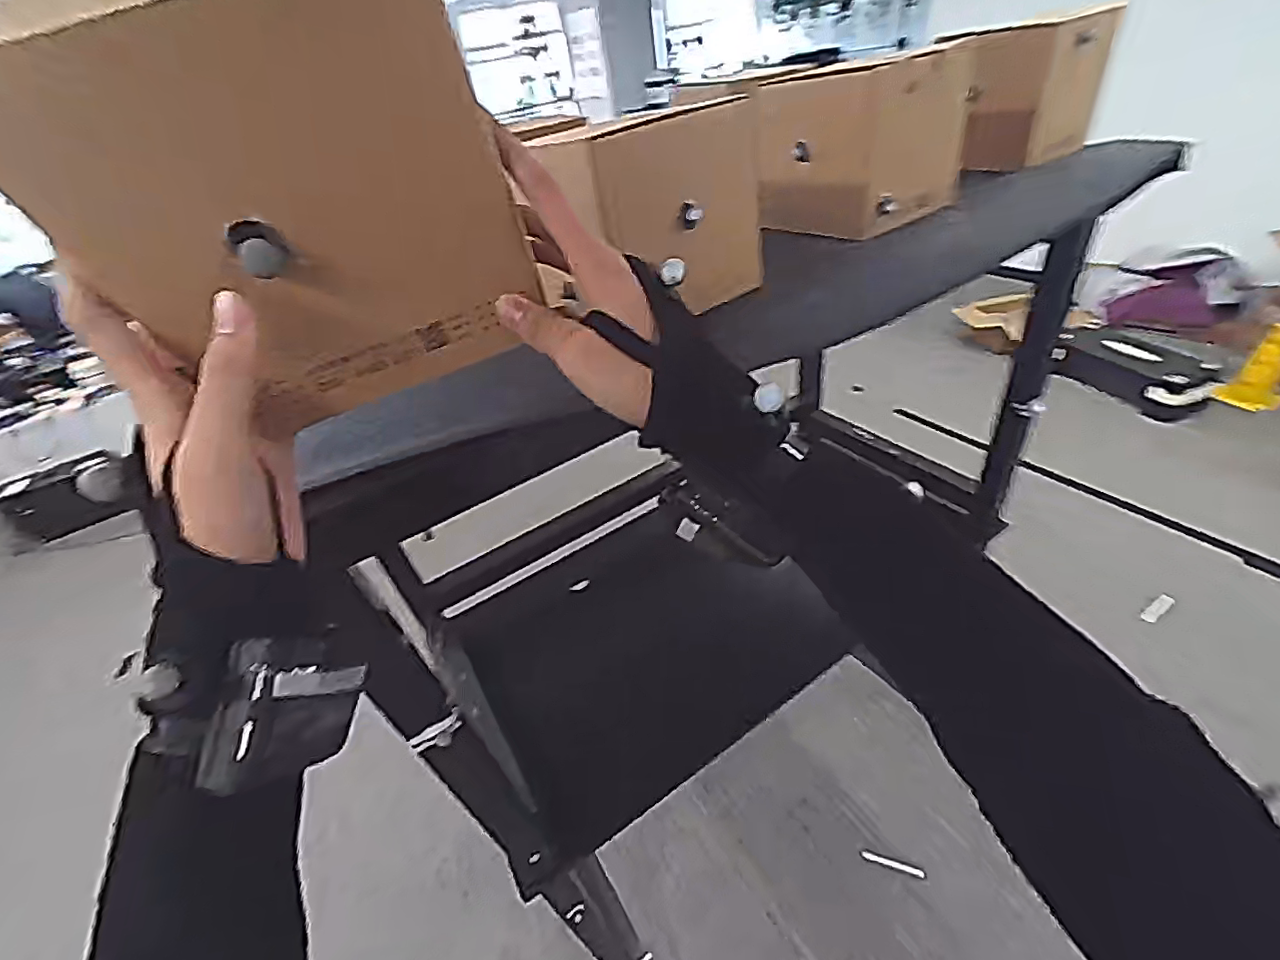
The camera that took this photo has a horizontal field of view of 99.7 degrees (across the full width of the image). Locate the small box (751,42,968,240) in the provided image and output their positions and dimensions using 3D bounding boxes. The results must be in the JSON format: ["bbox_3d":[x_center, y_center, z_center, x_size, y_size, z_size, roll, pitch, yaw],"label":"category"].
[{"bbox_3d":[0.261,-0.410,0.669,0.168,0.176,0.179,-28,38,-20],"label":"small box"}]

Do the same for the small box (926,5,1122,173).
[{"bbox_3d":[0.538,-0.563,0.794,0.168,0.176,0.179,-29,40,-20],"label":"small box"}]

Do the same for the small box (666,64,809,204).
[{"bbox_3d":[0.163,-0.580,0.914,0.168,0.176,0.179,-23,39,-17],"label":"small box"}]

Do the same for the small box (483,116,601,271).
[{"bbox_3d":[-0.173,-0.395,0.760,0.168,0.176,0.179,-28,41,-21],"label":"small box"}]

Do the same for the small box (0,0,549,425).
[{"bbox_3d":[-0.162,-0.150,0.274,0.168,0.176,0.179,-24,54,-7],"label":"small box"}]
